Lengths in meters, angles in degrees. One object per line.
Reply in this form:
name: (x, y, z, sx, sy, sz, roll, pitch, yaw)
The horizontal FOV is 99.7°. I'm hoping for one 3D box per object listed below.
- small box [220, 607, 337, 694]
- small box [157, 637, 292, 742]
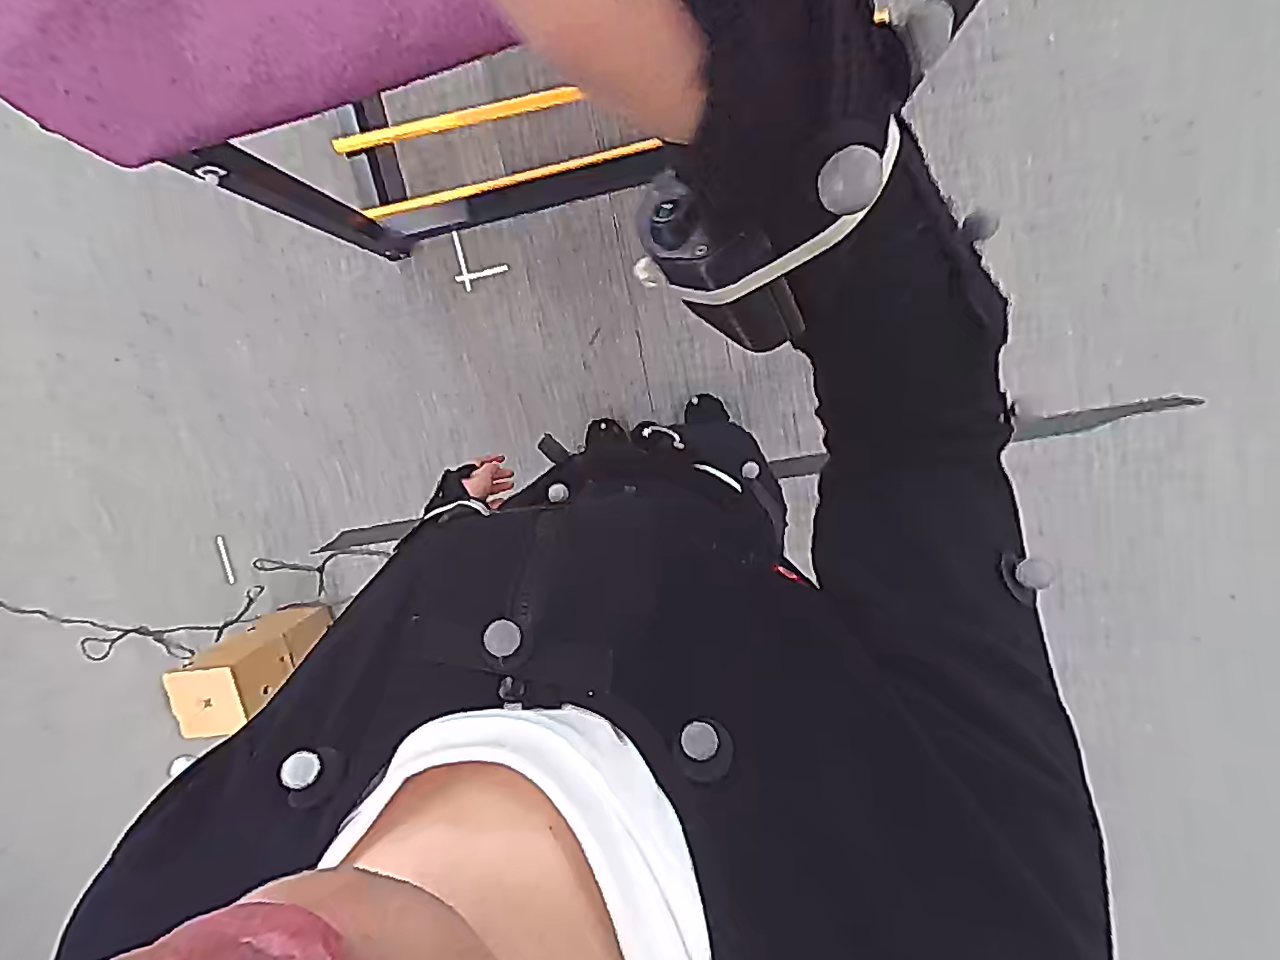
small box: (-0.952, 0.455, 1.439, 0.179, 0.176, 0.168, -9, 101, 6)
small box: (-0.966, 0.487, 1.280, 0.179, 0.176, 0.168, -9, 100, 7)
